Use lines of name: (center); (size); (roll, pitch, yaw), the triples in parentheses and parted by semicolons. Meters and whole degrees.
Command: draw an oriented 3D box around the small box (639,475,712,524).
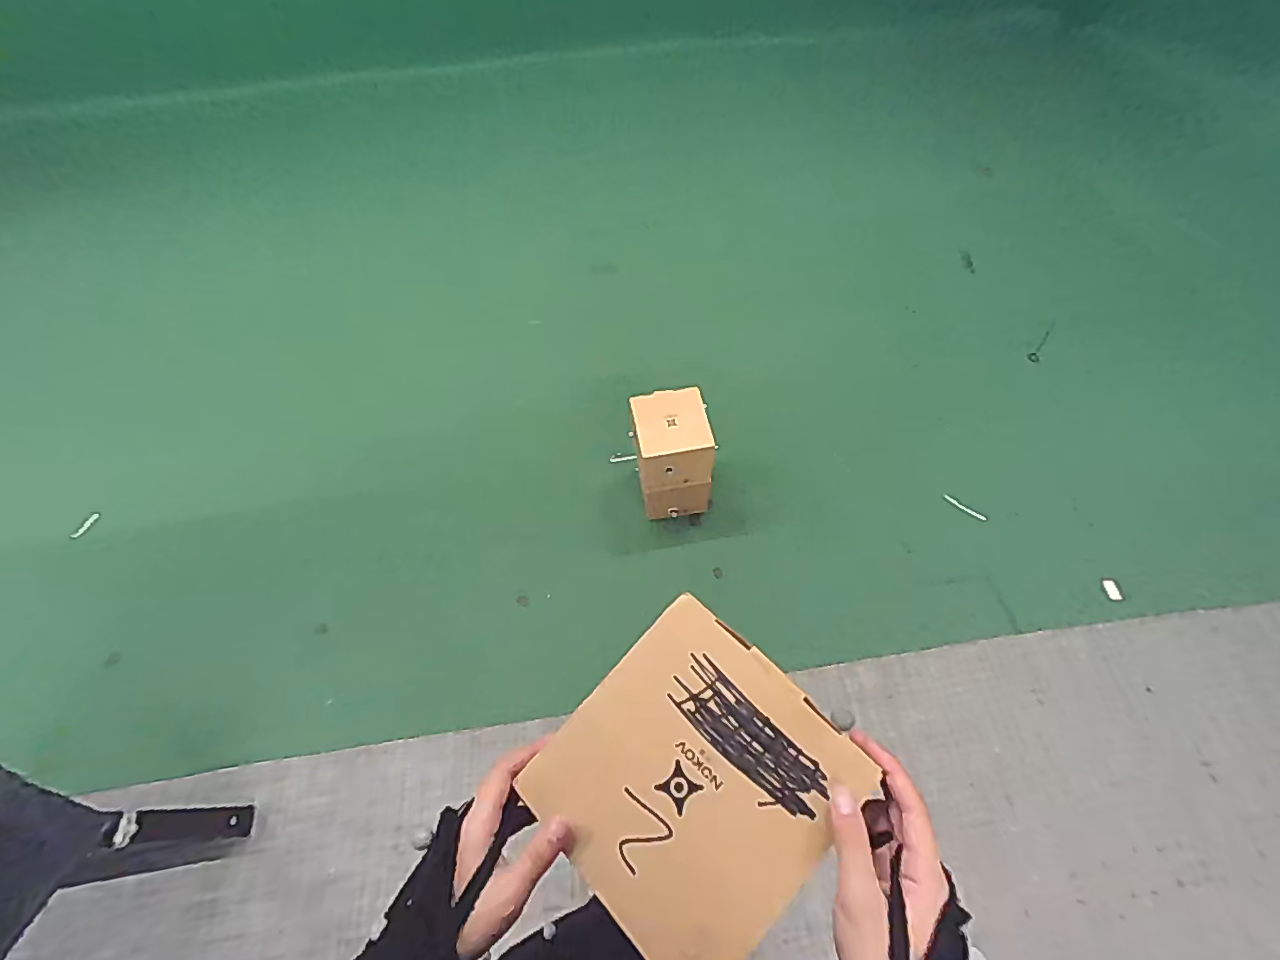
small box: (0.087, -0.005, 1.438); (0.168, 0.176, 0.179); (-9, 61, -3)

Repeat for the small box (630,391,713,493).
small box: (0.074, -0.083, 1.295); (0.168, 0.176, 0.179); (-10, 59, -3)
